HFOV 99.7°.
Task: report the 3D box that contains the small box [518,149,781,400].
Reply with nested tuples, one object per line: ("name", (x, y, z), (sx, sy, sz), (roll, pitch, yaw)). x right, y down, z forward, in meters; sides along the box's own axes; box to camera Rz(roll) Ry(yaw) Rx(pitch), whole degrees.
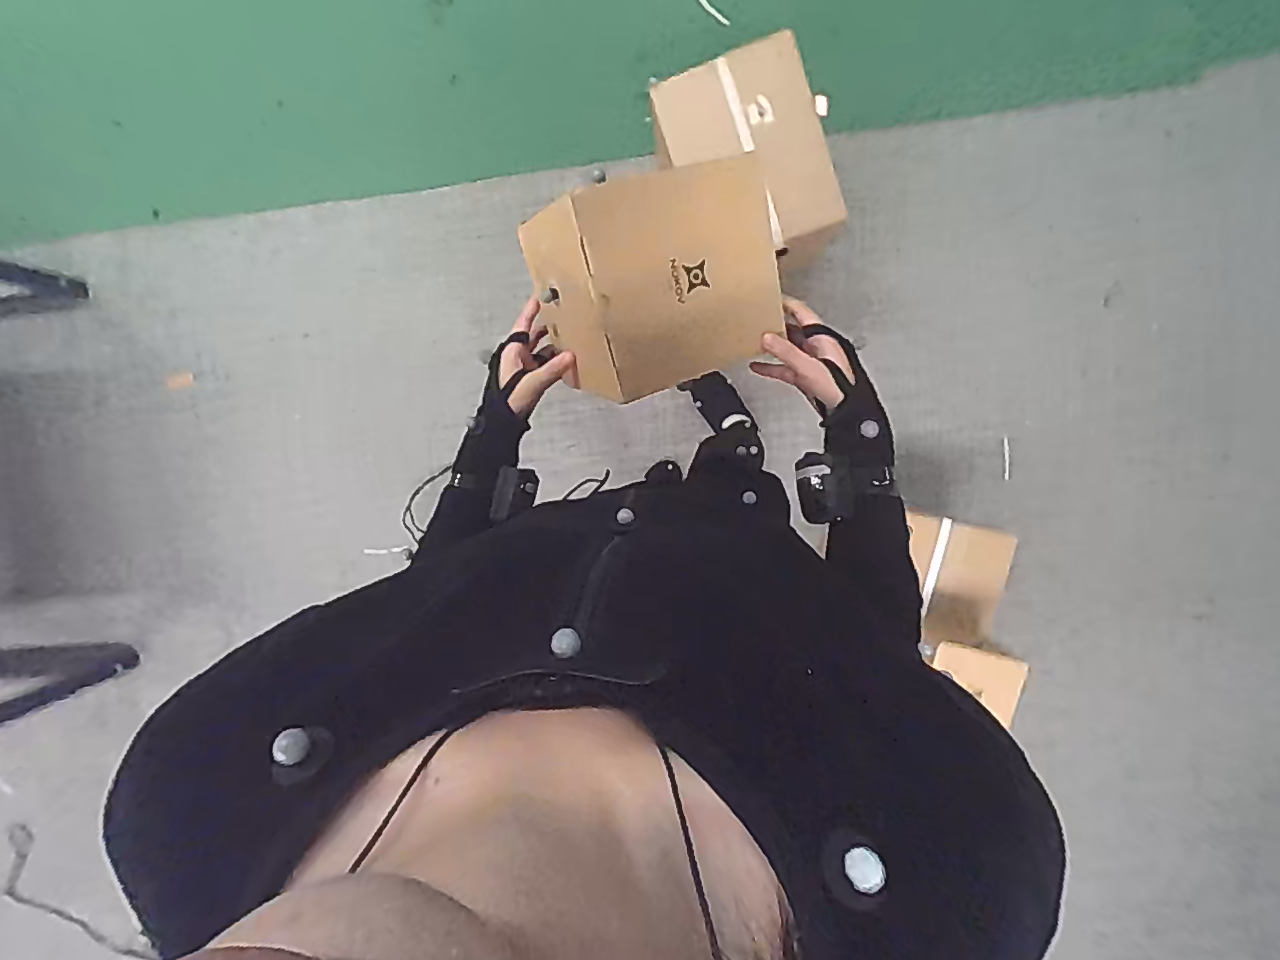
("small box", (0.004, -0.191, 0.518), (0.179, 0.176, 0.168), (-23, 113, -17))

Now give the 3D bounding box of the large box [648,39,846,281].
("large box", (0.238, -0.686, 1.282), (0.320, 0.320, 0.408), (-18, 92, 5))

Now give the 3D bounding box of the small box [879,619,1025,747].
("small box", (0.621, 0.401, 1.099), (0.179, 0.176, 0.168), (14, 95, 1))
